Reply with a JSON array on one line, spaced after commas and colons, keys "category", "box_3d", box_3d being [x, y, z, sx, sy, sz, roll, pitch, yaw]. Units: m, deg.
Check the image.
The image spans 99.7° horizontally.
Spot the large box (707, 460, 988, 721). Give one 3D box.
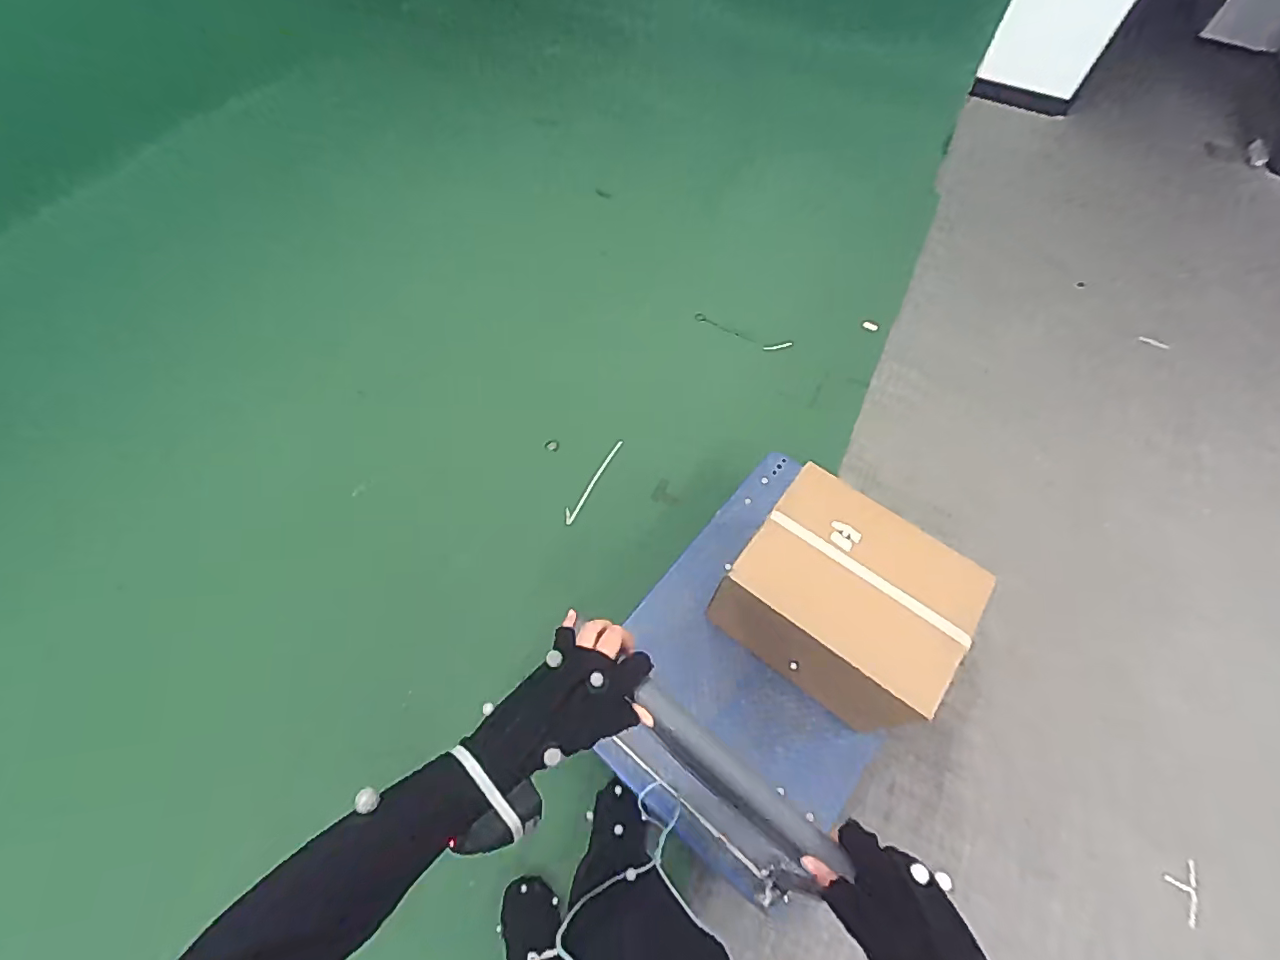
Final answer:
[{"category": "large box", "box_3d": [0.399, 0.238, 1.129, 0.408, 0.320, 0.320, 35, 66, 17]}]
